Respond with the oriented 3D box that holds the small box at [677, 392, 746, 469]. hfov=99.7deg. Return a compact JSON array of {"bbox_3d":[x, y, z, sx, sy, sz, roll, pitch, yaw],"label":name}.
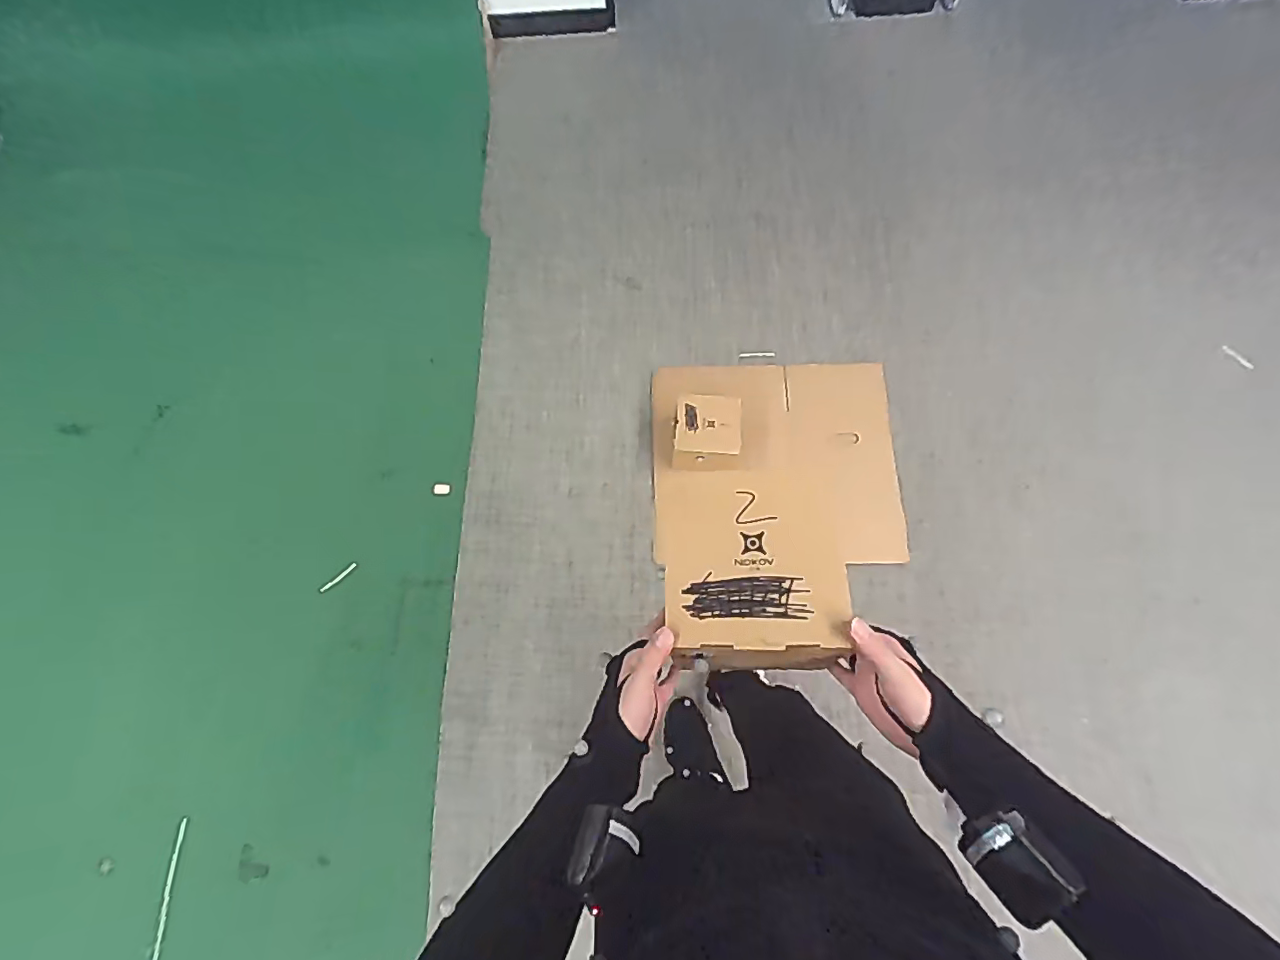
[{"bbox_3d":[0.195,-0.133,1.511,0.179,0.176,0.168,4,75,4],"label":"small box"}]
